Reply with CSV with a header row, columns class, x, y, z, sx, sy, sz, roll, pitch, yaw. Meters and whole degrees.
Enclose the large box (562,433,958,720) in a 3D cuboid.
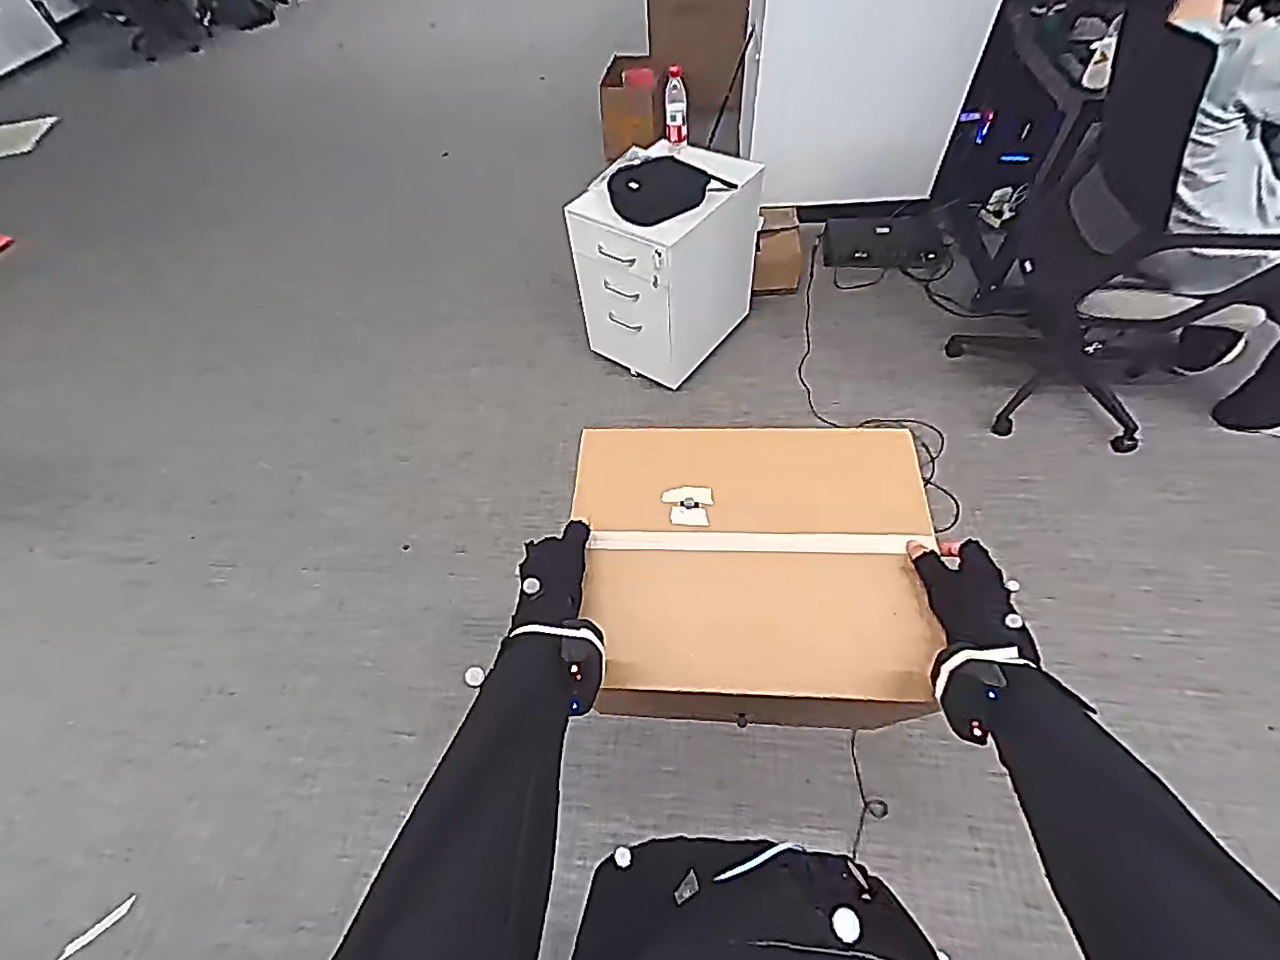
class,x,y,z,sx,sy,sz,roll,pitch,yaw
large box,0.137,0.149,0.745,0.408,0.320,0.320,0,60,6
